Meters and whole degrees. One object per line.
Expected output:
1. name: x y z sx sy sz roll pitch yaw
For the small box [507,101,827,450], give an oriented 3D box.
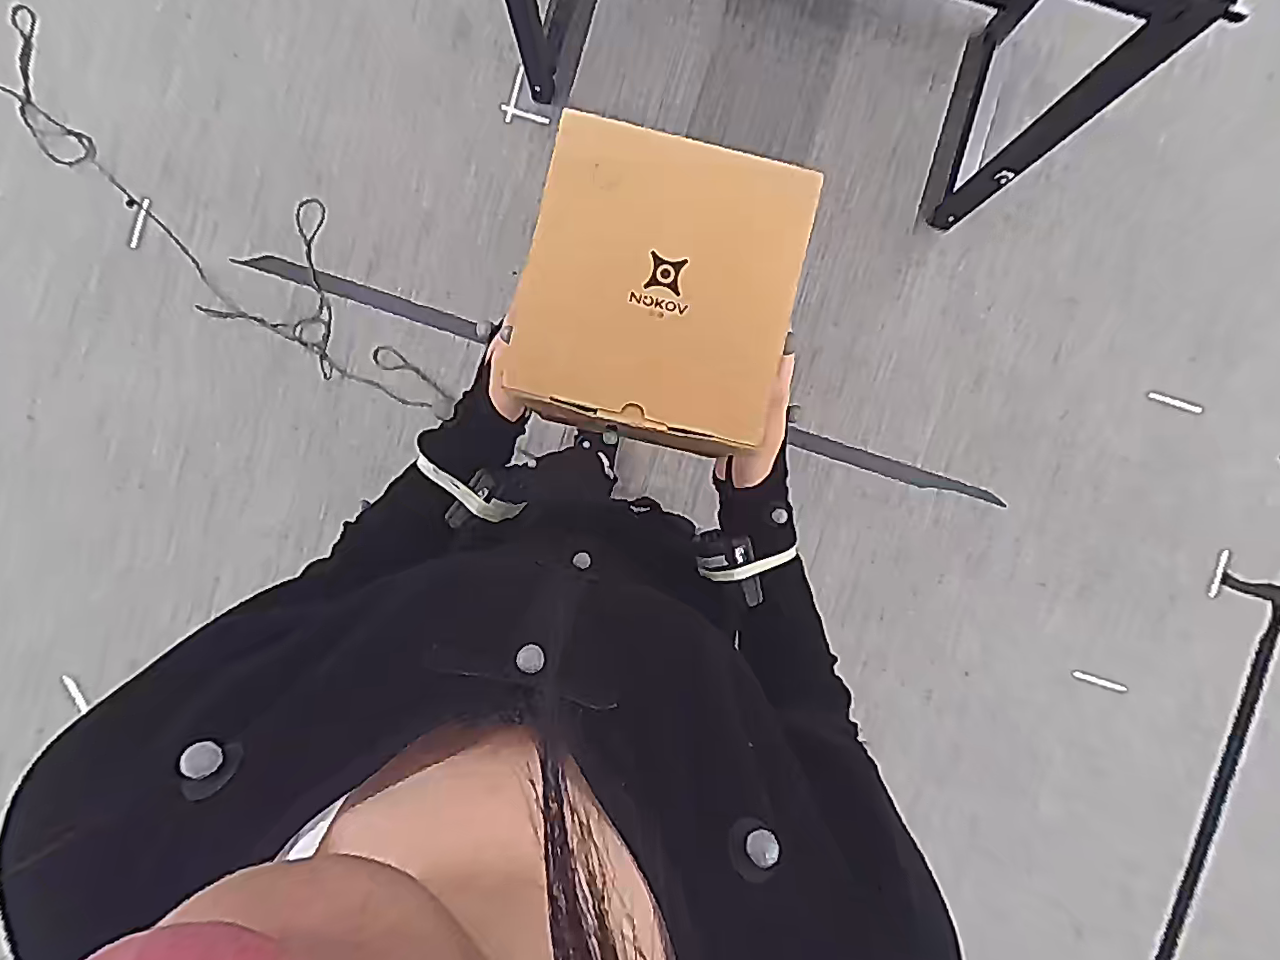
1. small box: 0.013 -0.125 0.404 0.168 0.176 0.179 13 91 -2
